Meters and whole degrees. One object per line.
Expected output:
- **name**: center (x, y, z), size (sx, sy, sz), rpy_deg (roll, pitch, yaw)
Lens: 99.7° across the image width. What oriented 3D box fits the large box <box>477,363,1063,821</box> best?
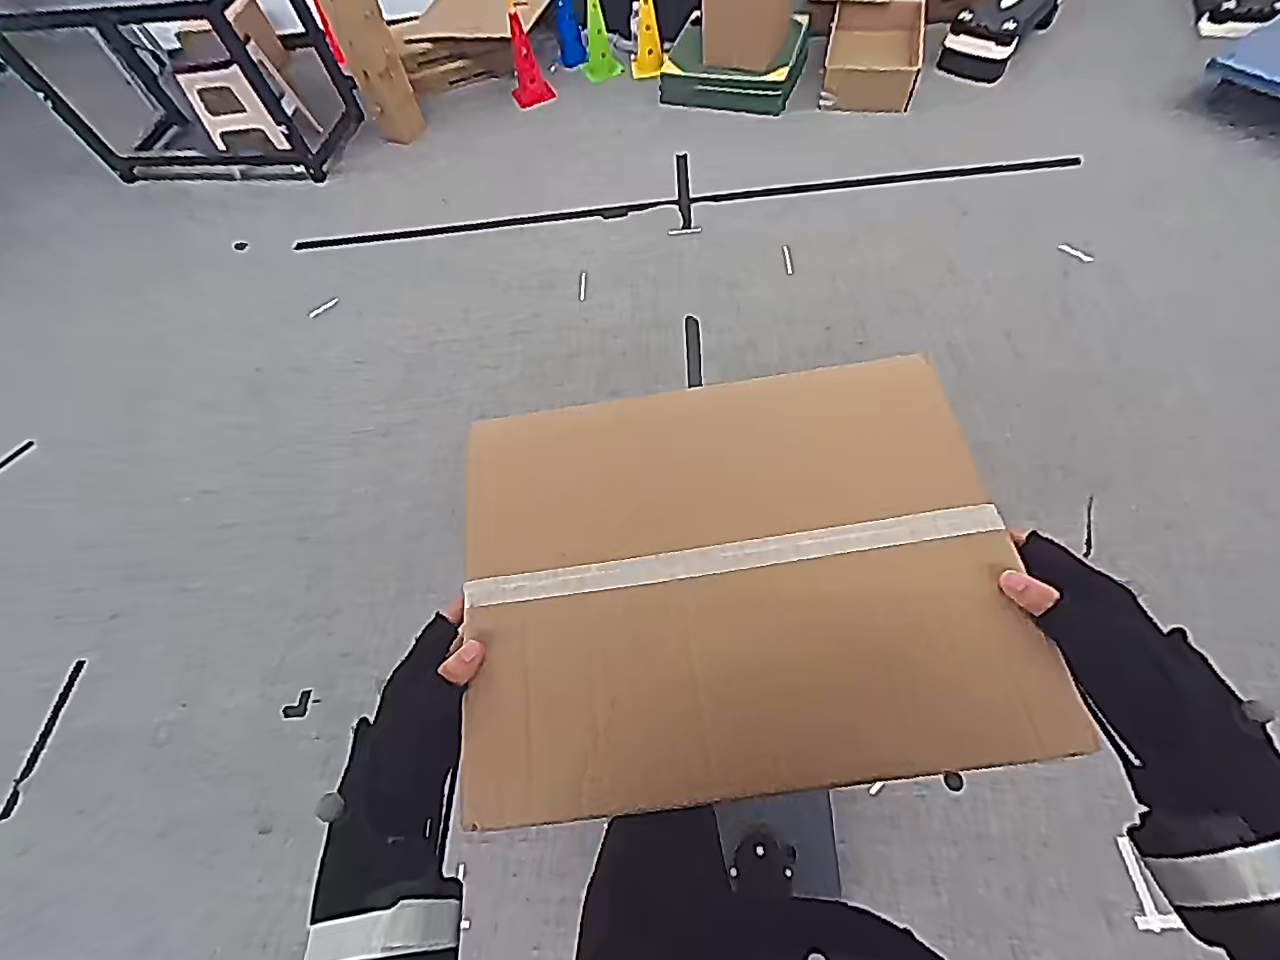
- **large box**: center (0.082, 0.124, 0.558), size (0.408, 0.320, 0.320), rpy_deg (-9, 64, 2)
